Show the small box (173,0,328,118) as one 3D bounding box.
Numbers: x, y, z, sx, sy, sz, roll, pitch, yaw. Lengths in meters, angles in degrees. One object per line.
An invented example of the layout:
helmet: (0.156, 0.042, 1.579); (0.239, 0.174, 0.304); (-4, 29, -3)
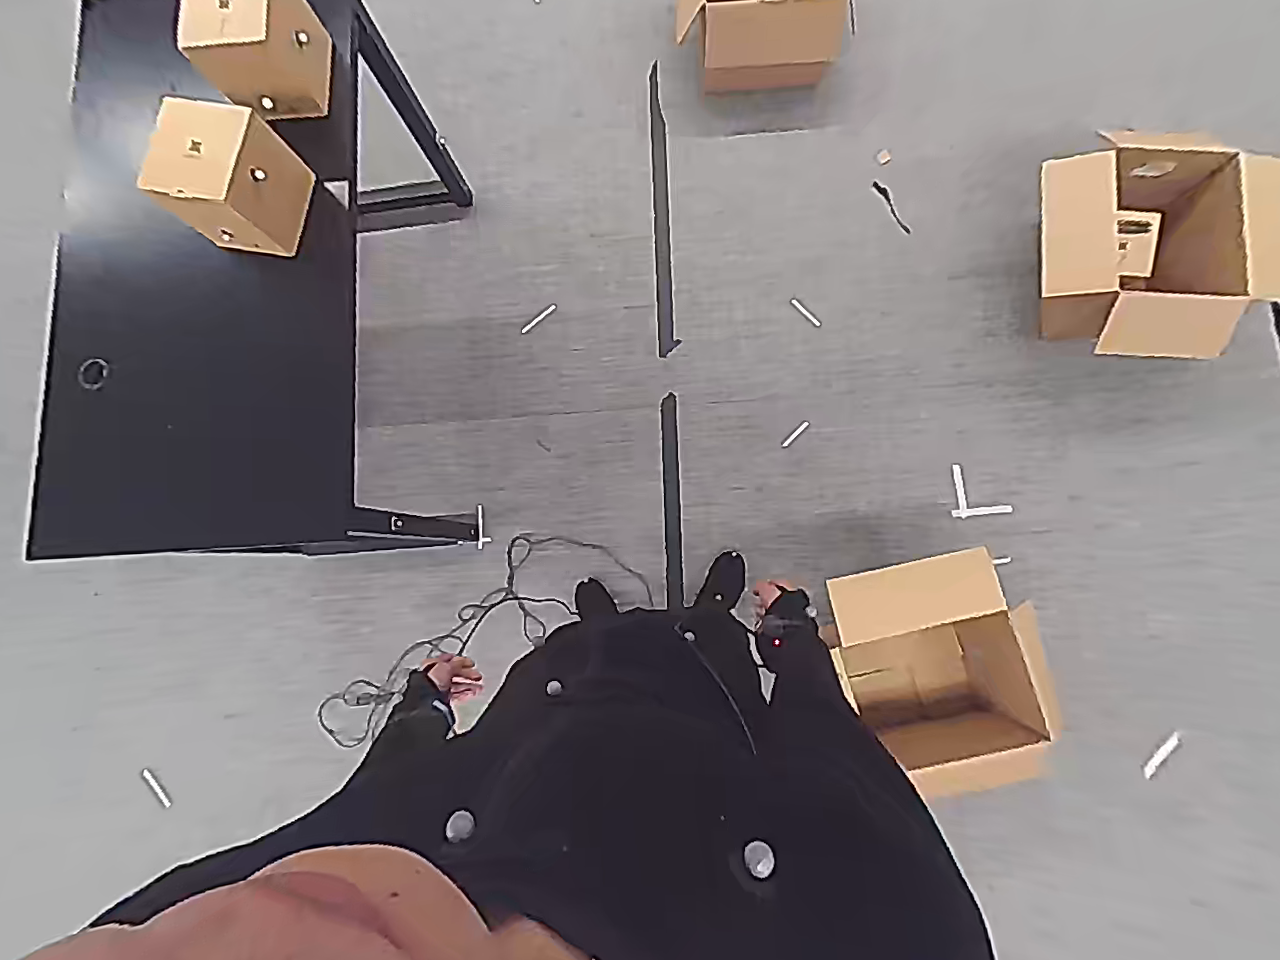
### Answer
small box: (-0.712, -0.819, 1.008); (0.168, 0.176, 0.179); (-2, 84, 5)

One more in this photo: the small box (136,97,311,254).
small box: (-0.736, -0.541, 0.977); (0.168, 0.176, 0.179); (10, 84, 6)
